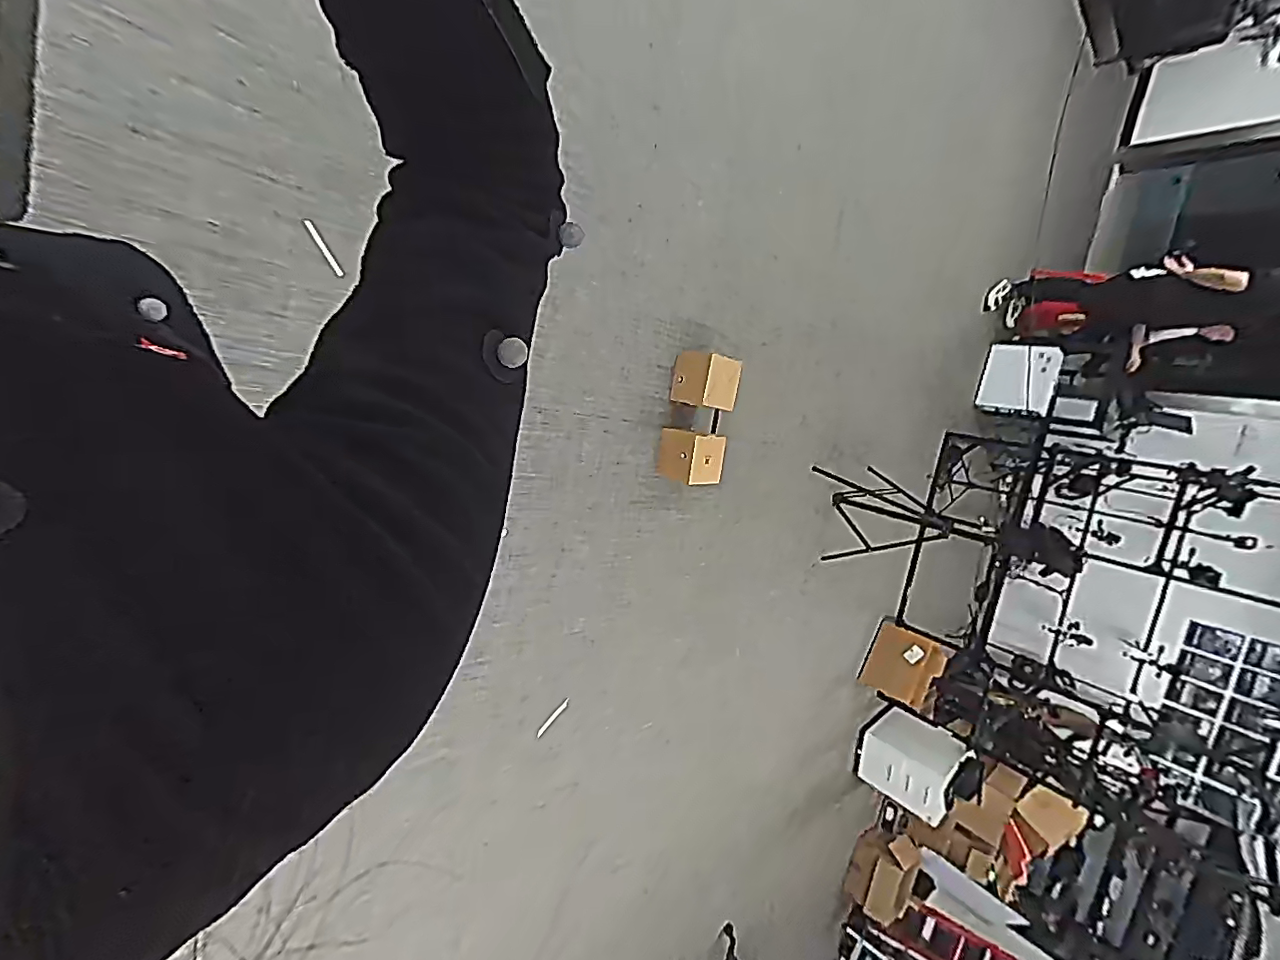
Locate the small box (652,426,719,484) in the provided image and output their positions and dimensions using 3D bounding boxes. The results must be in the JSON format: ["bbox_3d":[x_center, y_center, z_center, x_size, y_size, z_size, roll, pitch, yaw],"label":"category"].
[{"bbox_3d":[0.161,-0.093,1.966,0.168,0.176,0.179,-3,105,-43],"label":"small box"}]

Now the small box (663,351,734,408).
[{"bbox_3d":[0.210,-0.354,1.924,0.168,0.176,0.179,4,100,-43],"label":"small box"}]
